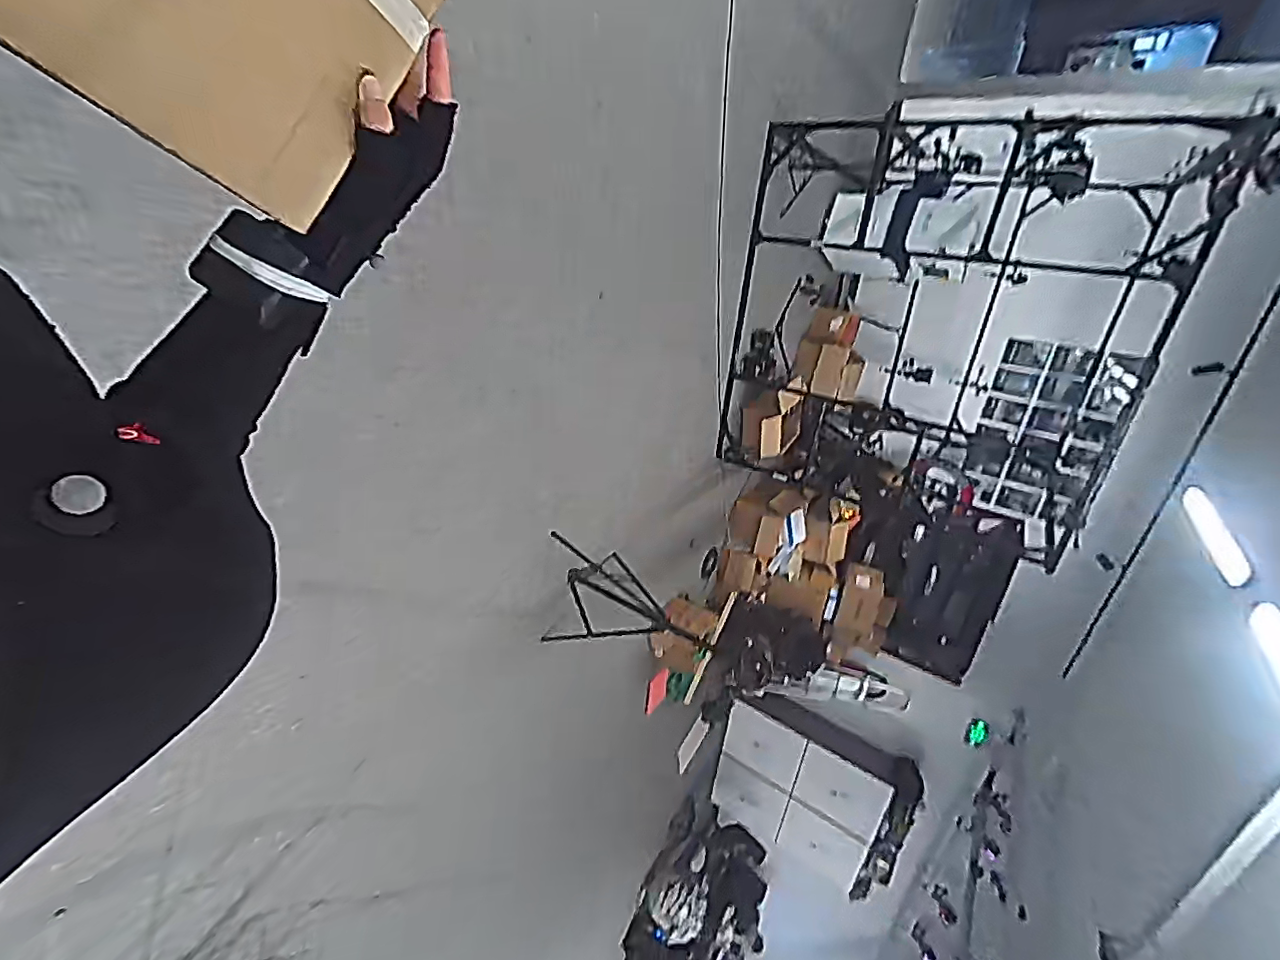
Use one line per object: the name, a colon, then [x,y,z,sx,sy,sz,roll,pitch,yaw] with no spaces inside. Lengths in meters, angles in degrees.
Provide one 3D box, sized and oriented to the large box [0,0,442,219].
large box: [-0.359,-0.434,0.303,0.320,0.320,0.408,-56,146,3]
